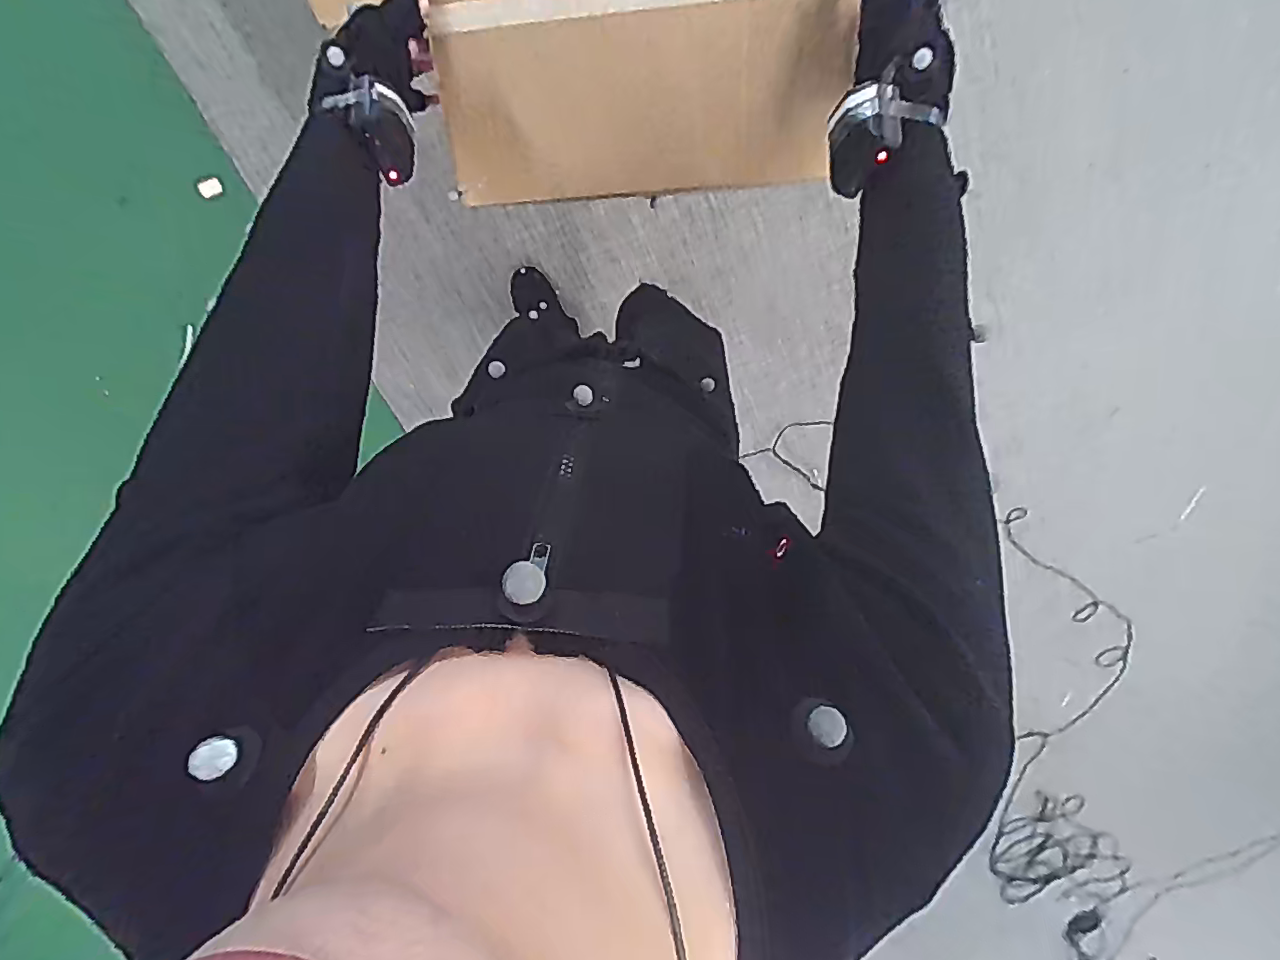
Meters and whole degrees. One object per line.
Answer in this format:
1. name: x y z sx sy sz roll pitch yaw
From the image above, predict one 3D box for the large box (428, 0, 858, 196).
1. large box: 0.009 -0.520 0.622 0.408 0.320 0.320 -1 118 5
